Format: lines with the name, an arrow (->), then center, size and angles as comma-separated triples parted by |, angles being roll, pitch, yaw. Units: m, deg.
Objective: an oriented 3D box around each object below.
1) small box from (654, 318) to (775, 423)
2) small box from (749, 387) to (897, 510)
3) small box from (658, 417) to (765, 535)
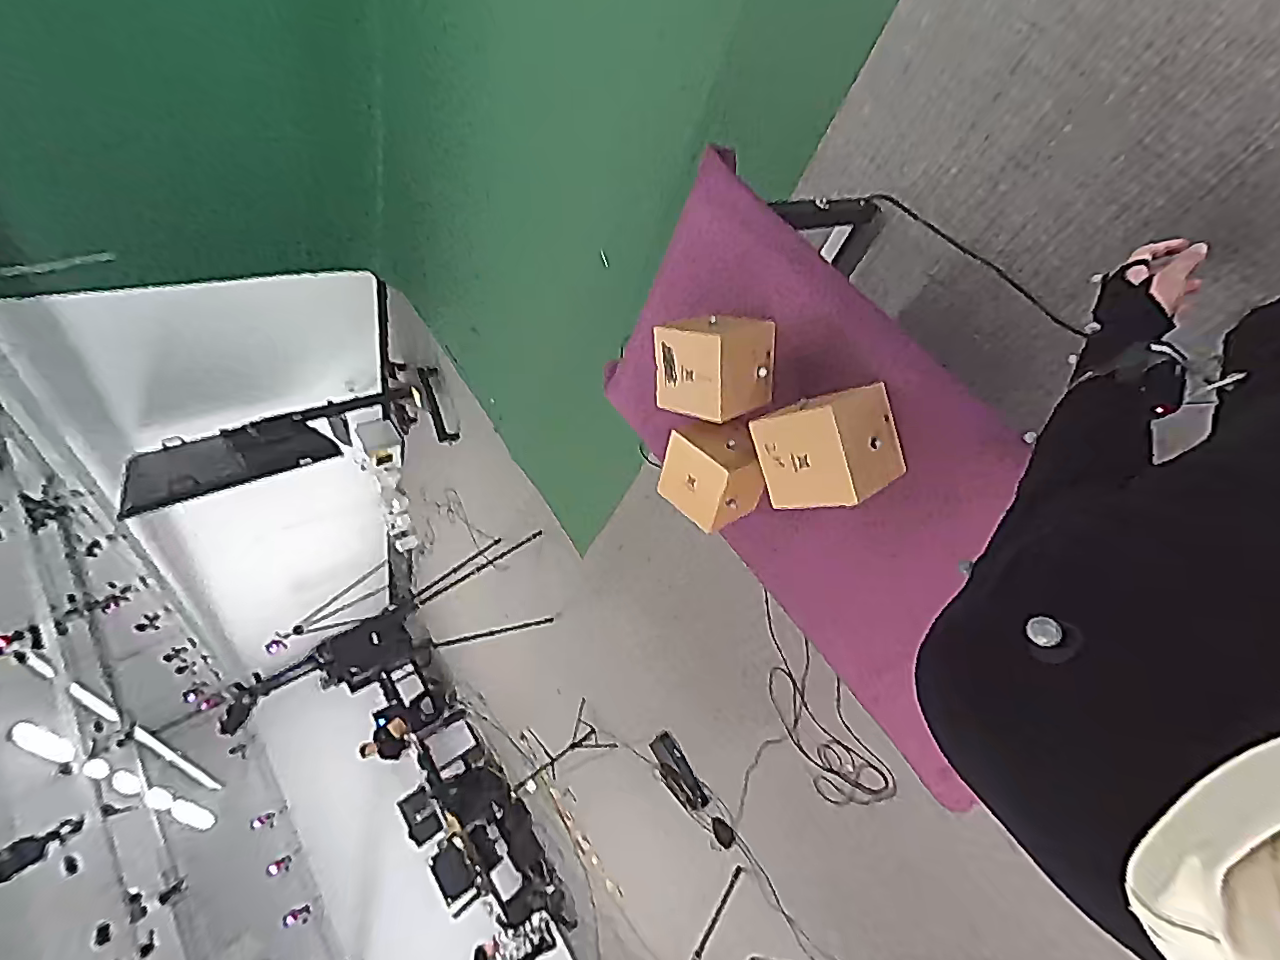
small box -> 0.149, -0.229, 1.091 | 0.179, 0.176, 0.168 | 22, 126, 42
small box -> 0.330, -0.055, 0.957 | 0.179, 0.176, 0.168 | -9, 102, 53
small box -> 0.167, -0.018, 1.189 | 0.168, 0.176, 0.179 | 40, 136, 30
